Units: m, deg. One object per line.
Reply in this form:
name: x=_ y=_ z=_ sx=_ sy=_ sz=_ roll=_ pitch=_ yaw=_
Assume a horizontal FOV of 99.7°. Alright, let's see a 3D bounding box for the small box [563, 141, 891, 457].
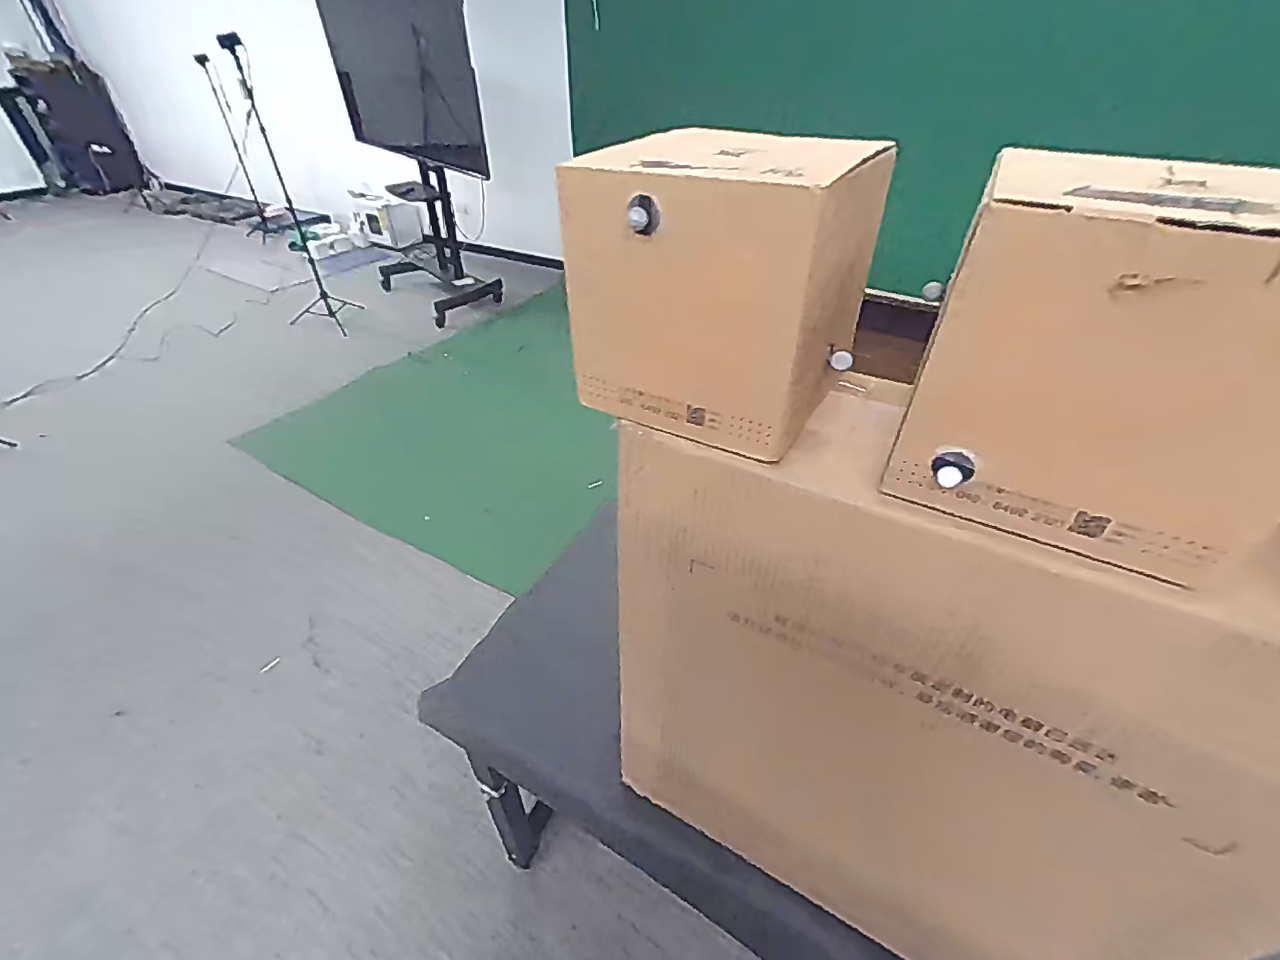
small box: x=0.064 y=-0.144 z=0.402 sx=0.168 sy=0.176 sz=0.179 roll=19 pitch=42 yaw=26
